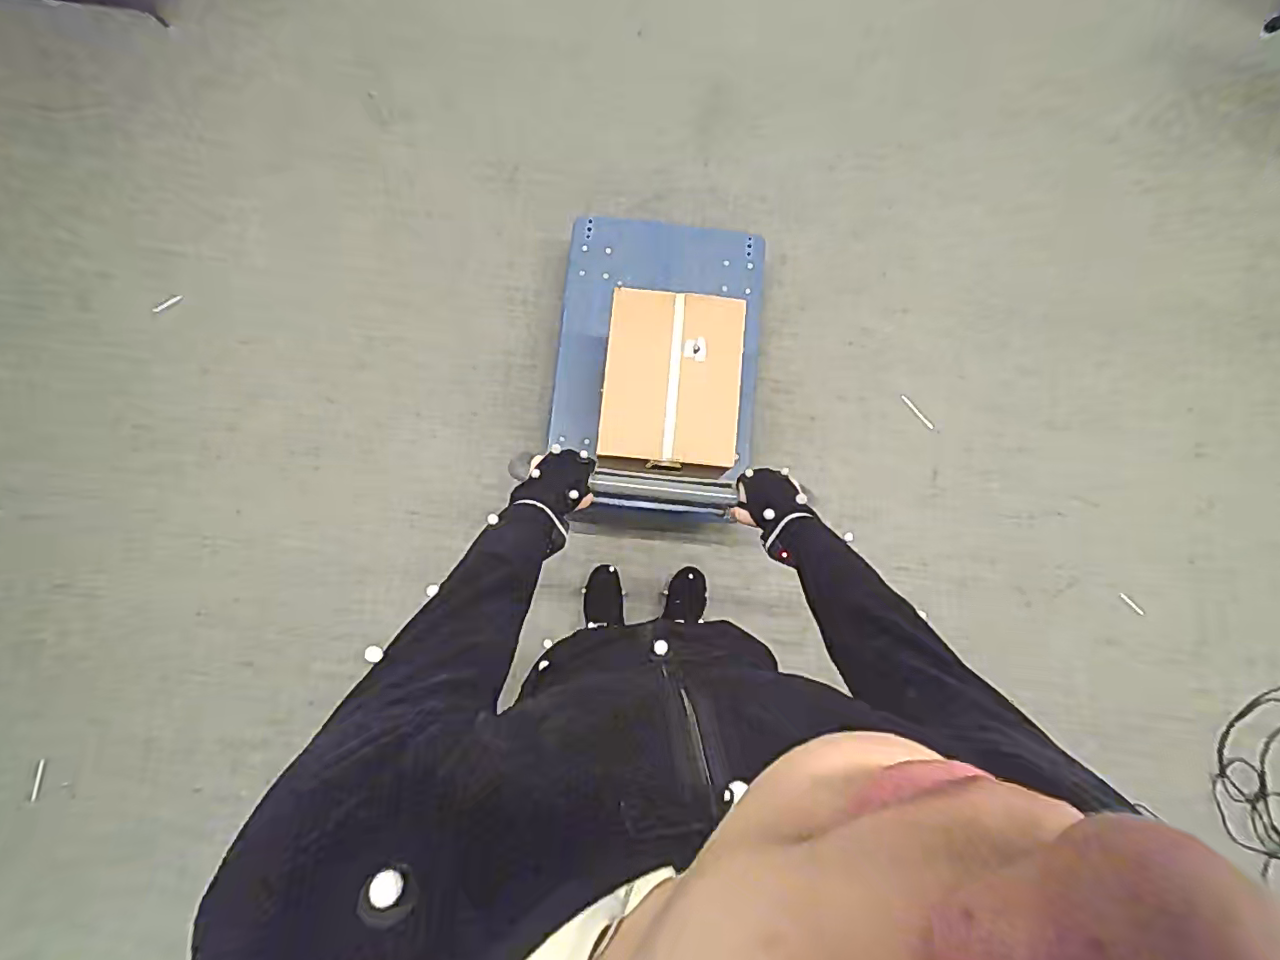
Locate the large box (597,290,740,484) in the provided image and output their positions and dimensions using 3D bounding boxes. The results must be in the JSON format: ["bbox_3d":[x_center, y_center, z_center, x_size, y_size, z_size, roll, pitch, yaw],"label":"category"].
[{"bbox_3d":[0.066,-0.214,1.382,0.320,0.320,0.408,5,81,-2],"label":"large box"}]
